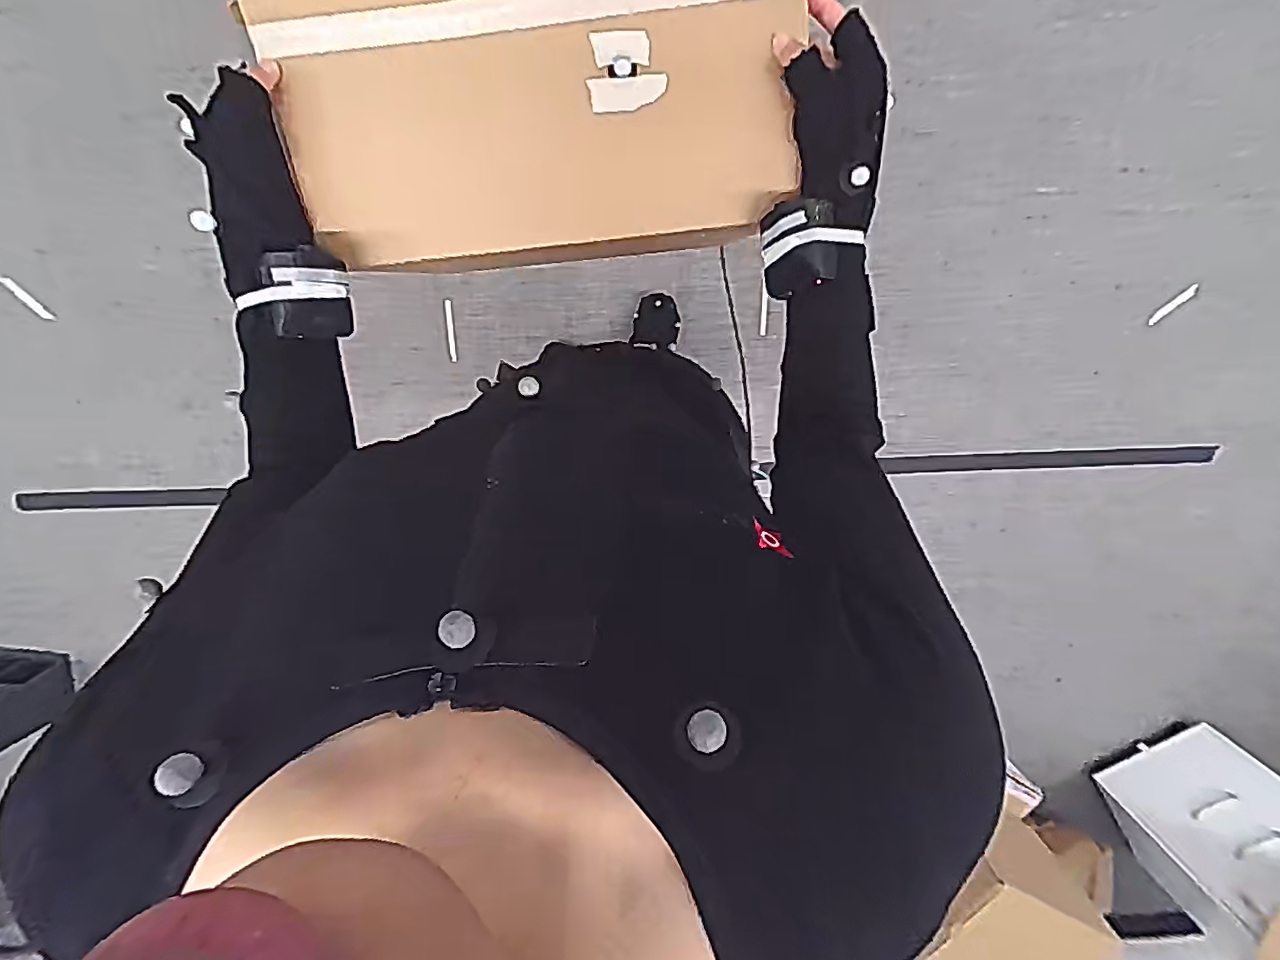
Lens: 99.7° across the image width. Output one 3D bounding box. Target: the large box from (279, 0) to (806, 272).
[{"bbox_3d":[-0.077,-0.402,0.554,0.408,0.320,0.320,-6,111,0],"label":"large box"}]
